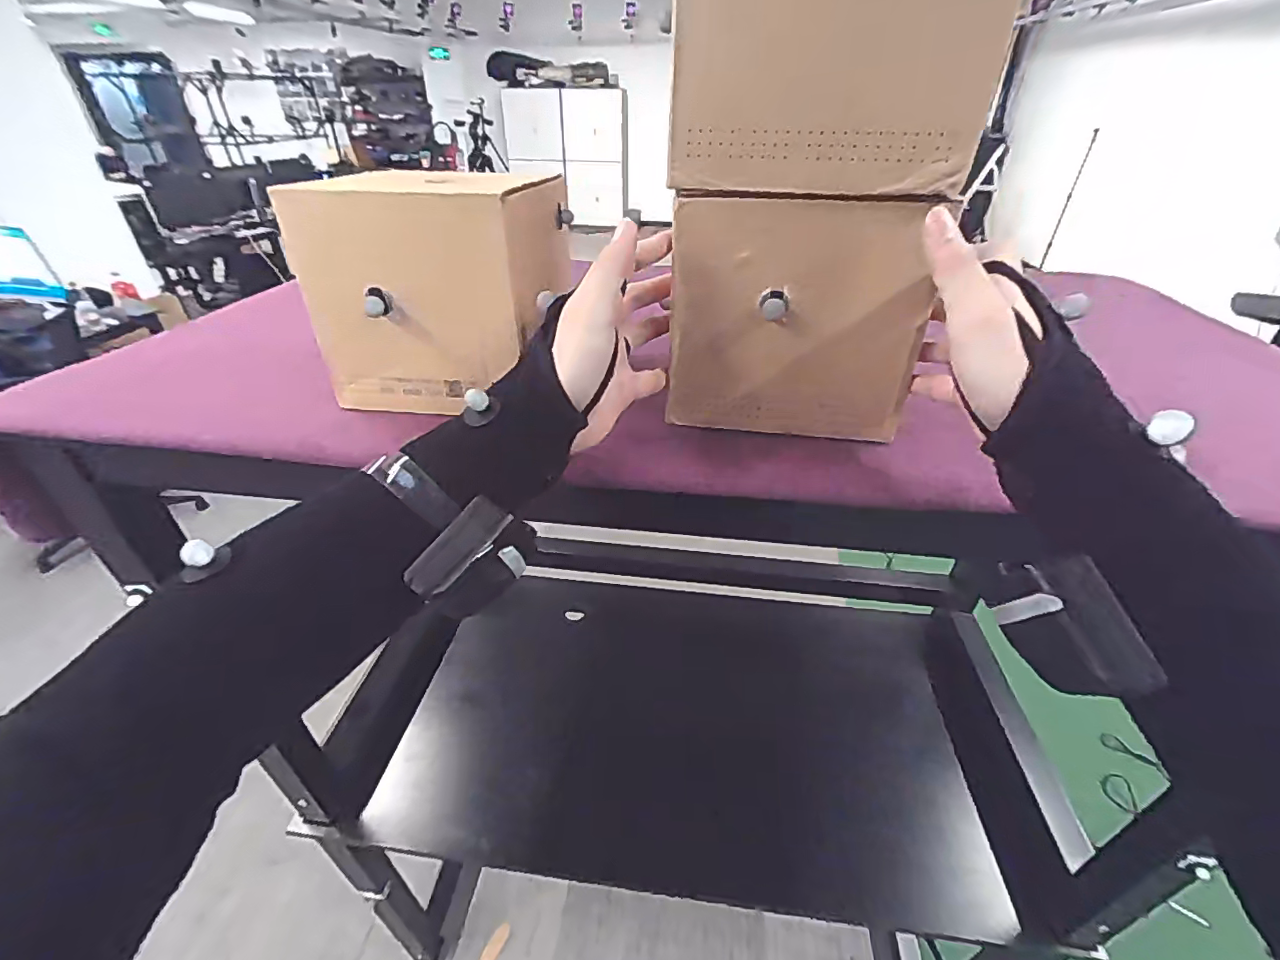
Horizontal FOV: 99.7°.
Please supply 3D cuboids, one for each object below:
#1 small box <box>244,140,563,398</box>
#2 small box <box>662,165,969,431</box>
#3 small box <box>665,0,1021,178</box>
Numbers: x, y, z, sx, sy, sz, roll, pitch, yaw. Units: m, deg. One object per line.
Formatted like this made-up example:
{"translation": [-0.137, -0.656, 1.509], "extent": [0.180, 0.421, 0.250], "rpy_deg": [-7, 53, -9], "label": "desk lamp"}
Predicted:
{"translation": [-0.164, -0.179, 0.449], "extent": [0.168, 0.176, 0.179], "rpy_deg": [5, 34, 6], "label": "small box"}
{"translation": [0.113, -0.150, 0.420], "extent": [0.179, 0.176, 0.168], "rpy_deg": [6, 36, 8], "label": "small box"}
{"translation": [0.116, -0.282, 0.322], "extent": [0.179, 0.176, 0.168], "rpy_deg": [10, 36, 11], "label": "small box"}
